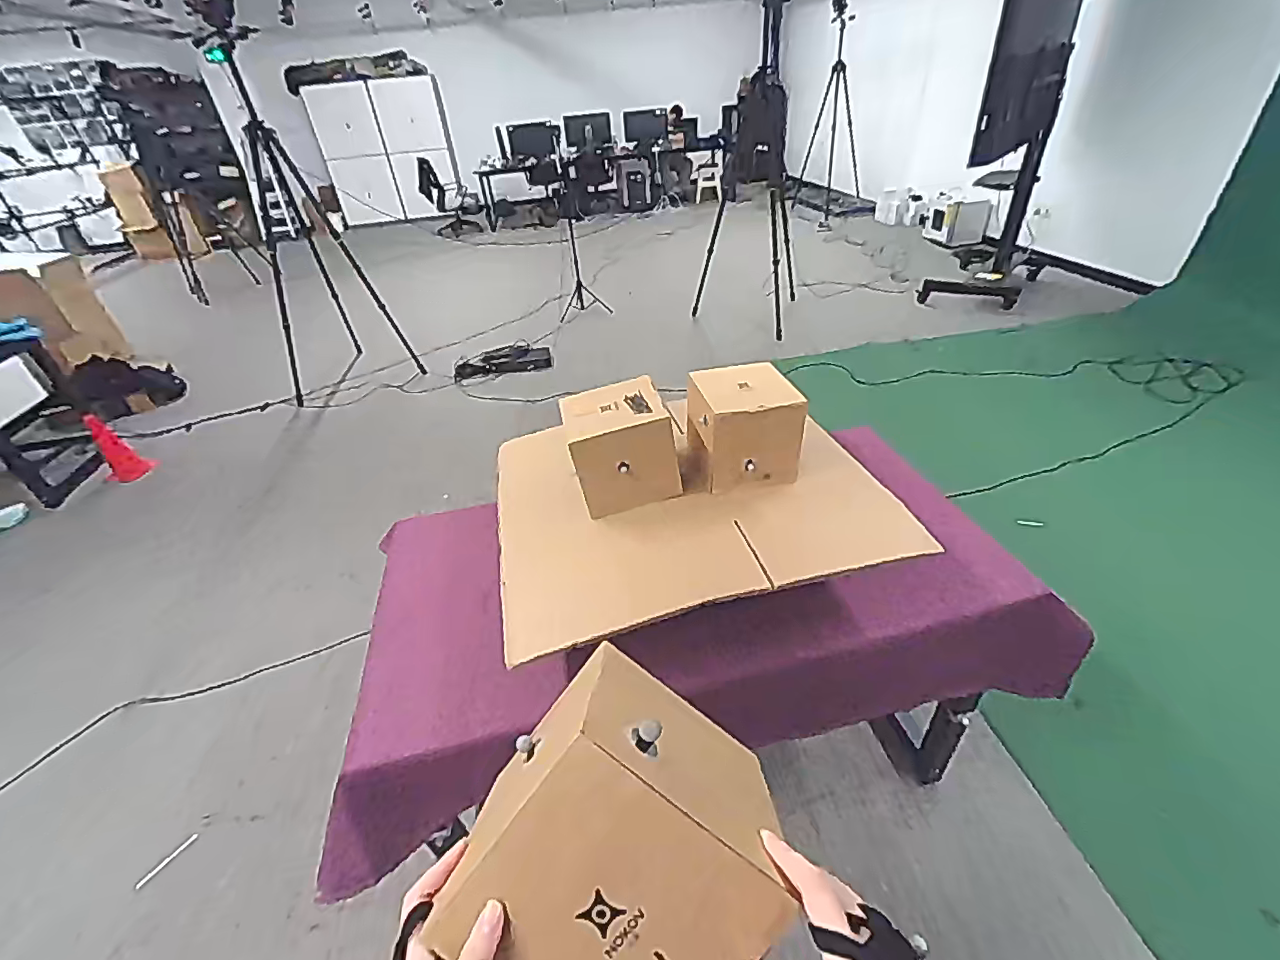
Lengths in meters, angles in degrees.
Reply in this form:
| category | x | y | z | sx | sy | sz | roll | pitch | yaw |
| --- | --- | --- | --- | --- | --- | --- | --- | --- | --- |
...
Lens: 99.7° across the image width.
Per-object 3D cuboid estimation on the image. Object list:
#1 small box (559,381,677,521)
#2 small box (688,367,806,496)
| category | x | y | z | sx | sy | sz | roll | pitch | yaw |
| --- | --- | --- | --- | --- | --- | --- | --- | --- | --- |
| small box | -0.036 | -0.052 | 0.988 | 0.179 | 0.176 | 0.168 | -17 | 37 | -2 |
| small box | 0.188 | -0.093 | 1.014 | 0.168 | 0.176 | 0.179 | -9 | 37 | -7 |
